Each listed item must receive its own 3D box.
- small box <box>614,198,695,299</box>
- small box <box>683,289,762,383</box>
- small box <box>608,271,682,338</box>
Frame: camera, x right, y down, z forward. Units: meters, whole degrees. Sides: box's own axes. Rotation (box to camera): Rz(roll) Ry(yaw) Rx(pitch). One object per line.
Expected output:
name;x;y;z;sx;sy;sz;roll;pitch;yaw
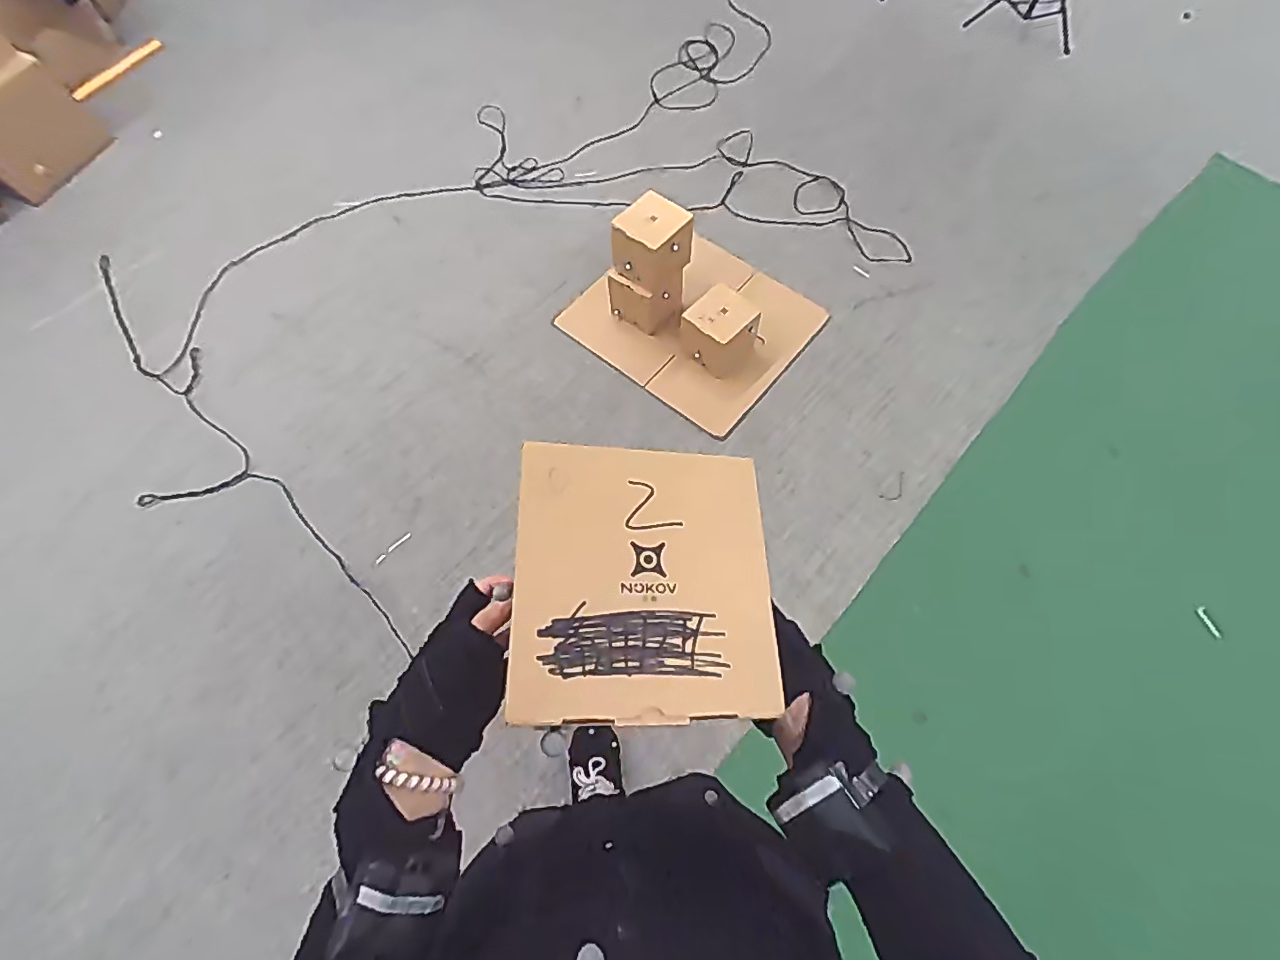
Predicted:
small box;0.039;-0.673;1.582;0.168;0.176;0.179;38;72;16
small box;0.243;-0.436;1.651;0.168;0.176;0.179;42;74;19
small box;0.021;-0.589;1.723;0.168;0.176;0.179;35;71;16
